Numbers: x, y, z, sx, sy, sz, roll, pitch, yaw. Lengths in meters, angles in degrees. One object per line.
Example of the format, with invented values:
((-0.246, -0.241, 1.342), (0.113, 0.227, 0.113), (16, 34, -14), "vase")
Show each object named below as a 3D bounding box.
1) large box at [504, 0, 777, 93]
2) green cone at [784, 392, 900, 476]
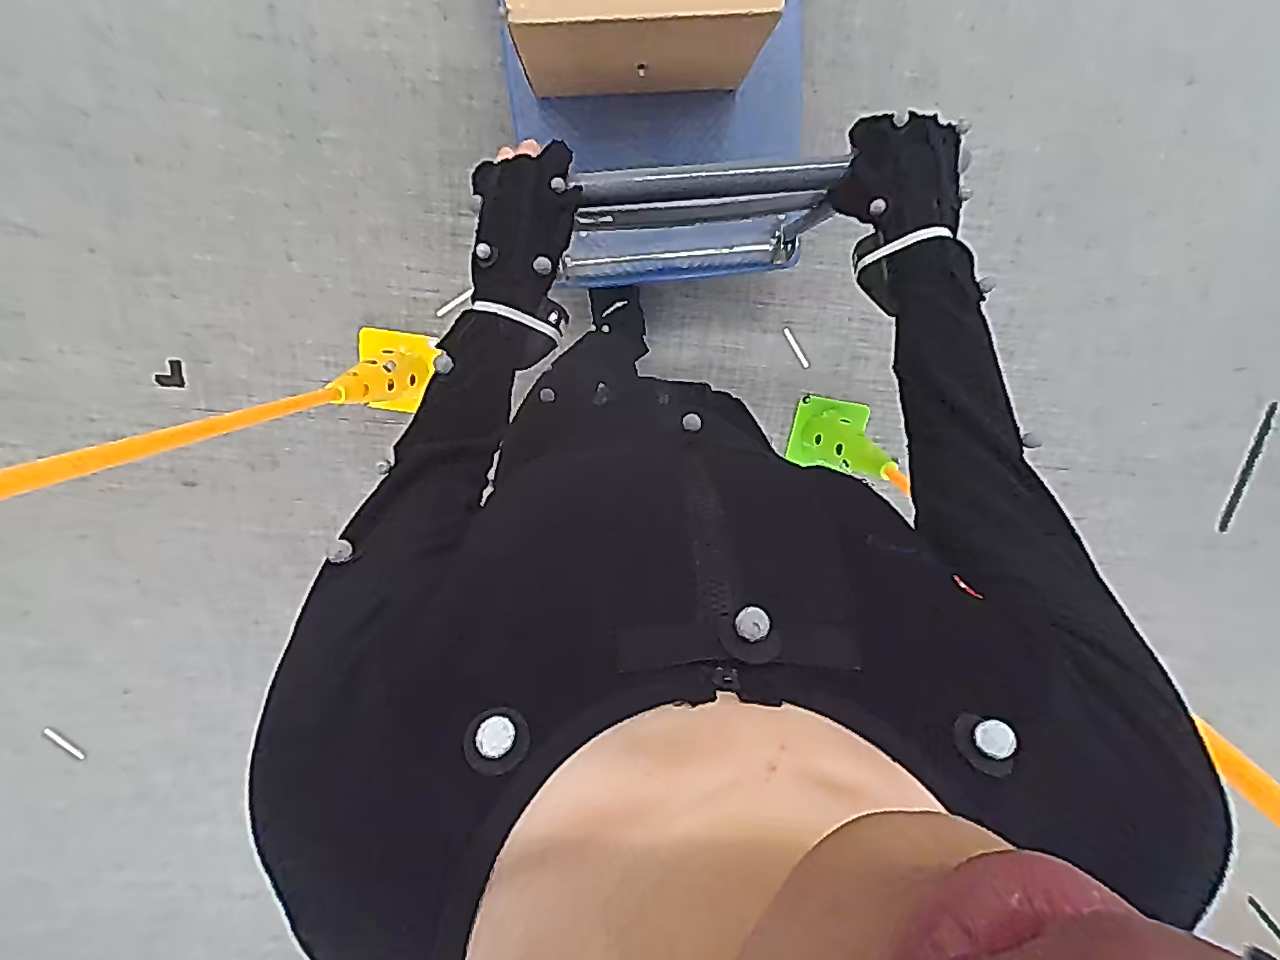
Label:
((-0.010, -0.870, 0.883), (0.408, 0.320, 0.320), (-4, 109, -1), "large box")
((0.518, -0.079, 1.318), (0.202, 0.368, 0.200), (8, 107, -6), "green cone")
